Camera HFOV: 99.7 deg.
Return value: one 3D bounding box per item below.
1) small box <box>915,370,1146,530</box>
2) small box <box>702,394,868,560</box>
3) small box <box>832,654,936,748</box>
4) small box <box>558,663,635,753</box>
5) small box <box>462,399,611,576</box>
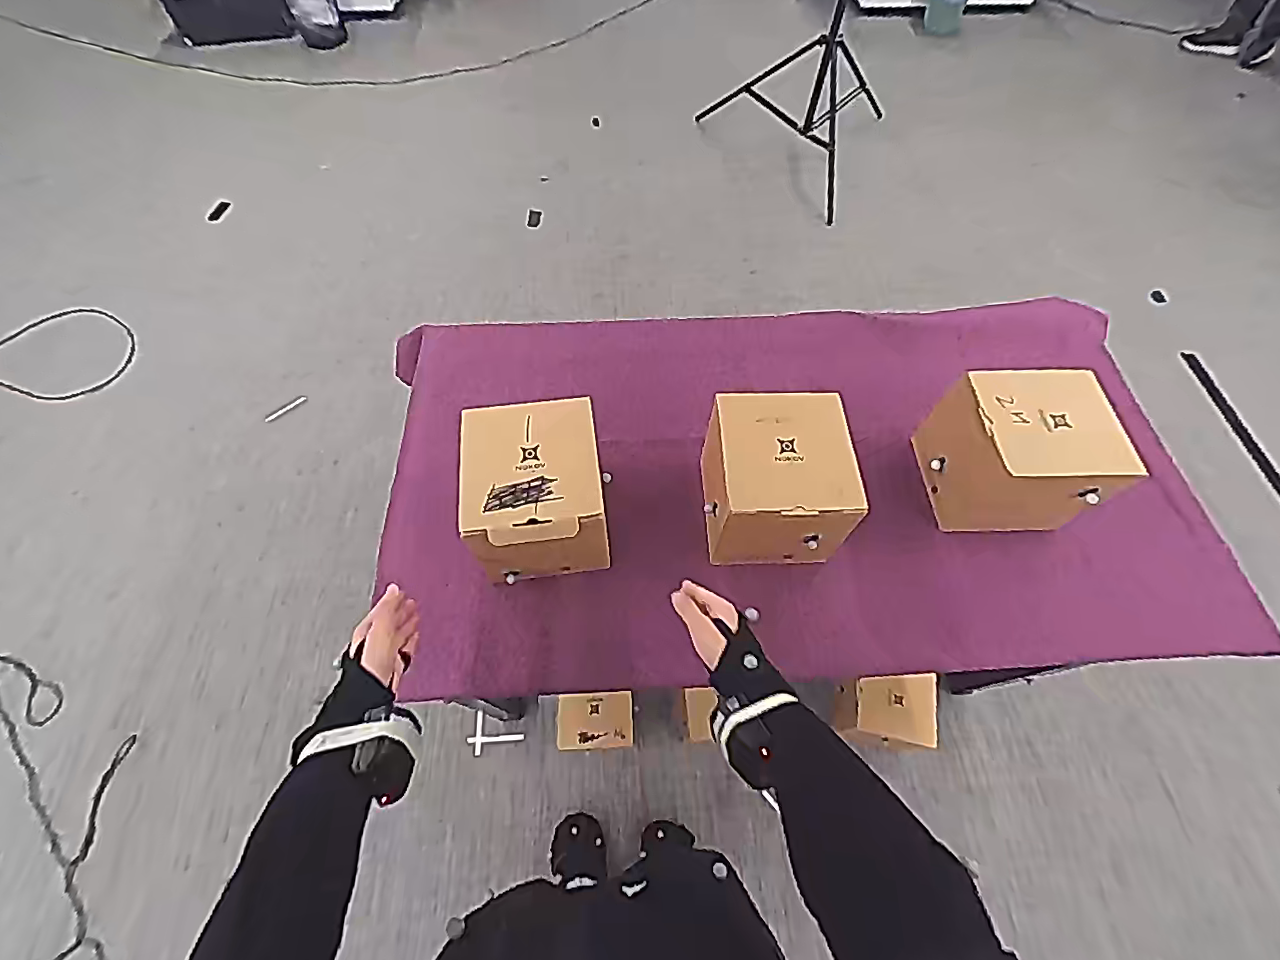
[{"bbox_3d":[0.526,-0.037,0.761,0.179,0.176,0.168,-1,61,-1],"label":"small box"},{"bbox_3d":[0.181,0.003,0.735,0.168,0.176,0.179,-1,60,-3],"label":"small box"},{"bbox_3d":[0.576,0.529,1.288,0.179,0.176,0.168,12,63,7],"label":"small box"},{"bbox_3d":[-0.097,0.538,1.269,0.168,0.176,0.179,-1,60,-1],"label":"small box"},{"bbox_3d":[-0.130,0.018,0.718,0.168,0.176,0.179,-7,60,-5],"label":"small box"}]
